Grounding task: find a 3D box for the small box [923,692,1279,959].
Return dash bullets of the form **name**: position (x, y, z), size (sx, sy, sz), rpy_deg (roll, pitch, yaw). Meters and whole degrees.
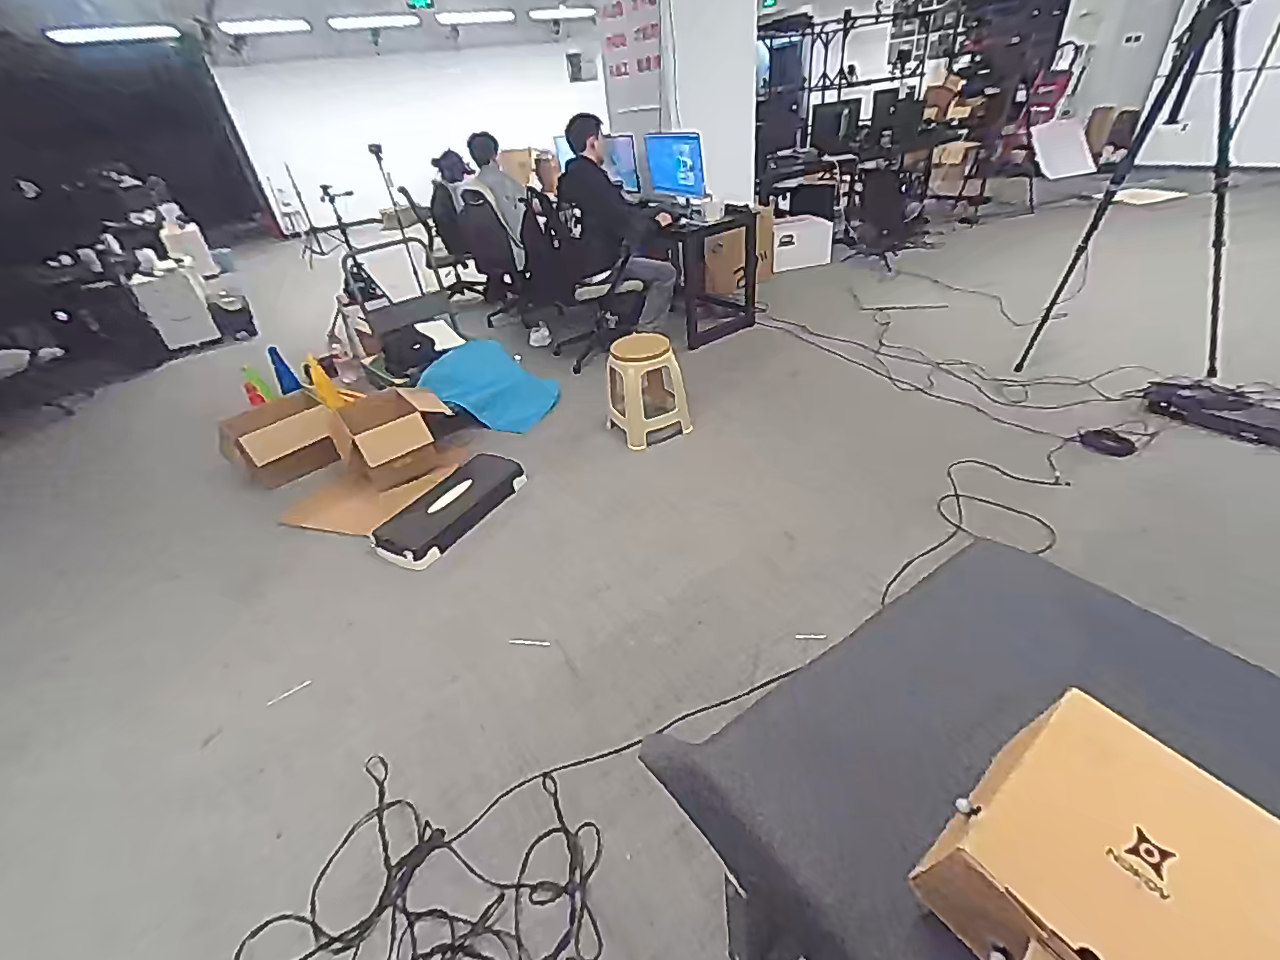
- **small box**: position (0.358, 0.314, 0.428), size (0.179, 0.176, 0.168), rpy_deg (-35, 51, -21)
